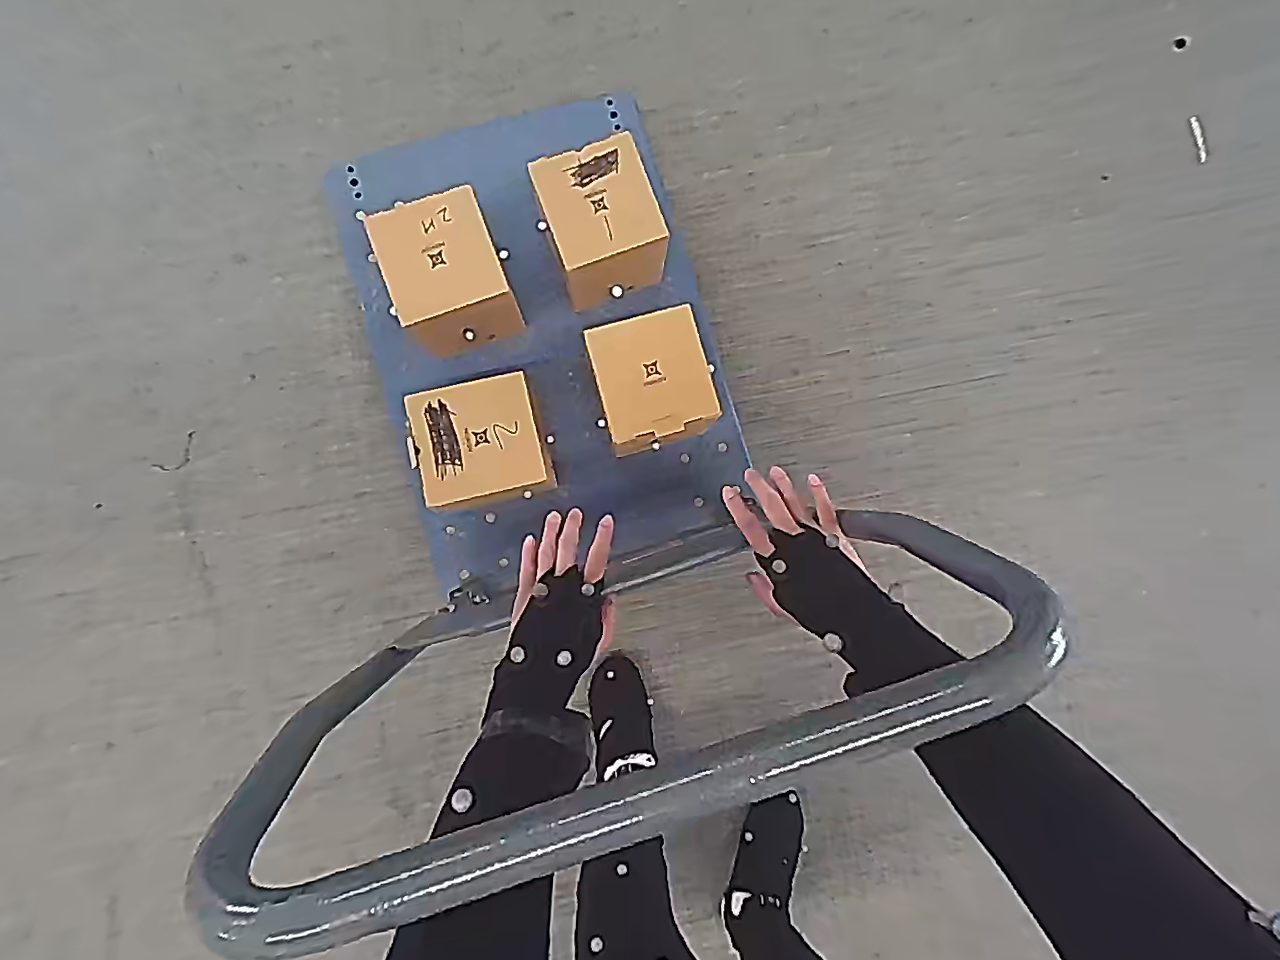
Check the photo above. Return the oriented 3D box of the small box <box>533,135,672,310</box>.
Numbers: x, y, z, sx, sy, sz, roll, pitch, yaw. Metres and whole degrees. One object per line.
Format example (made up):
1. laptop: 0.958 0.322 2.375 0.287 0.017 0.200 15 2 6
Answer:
1. small box: -0.060 -0.407 0.882 0.168 0.176 0.179 -20 88 -3

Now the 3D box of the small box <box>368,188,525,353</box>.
1. small box: -0.295 -0.319 0.866 0.168 0.176 0.179 -20 87 -4

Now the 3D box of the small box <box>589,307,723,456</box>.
1. small box: 0.017 -0.149 0.869 0.168 0.176 0.179 -15 87 -4
